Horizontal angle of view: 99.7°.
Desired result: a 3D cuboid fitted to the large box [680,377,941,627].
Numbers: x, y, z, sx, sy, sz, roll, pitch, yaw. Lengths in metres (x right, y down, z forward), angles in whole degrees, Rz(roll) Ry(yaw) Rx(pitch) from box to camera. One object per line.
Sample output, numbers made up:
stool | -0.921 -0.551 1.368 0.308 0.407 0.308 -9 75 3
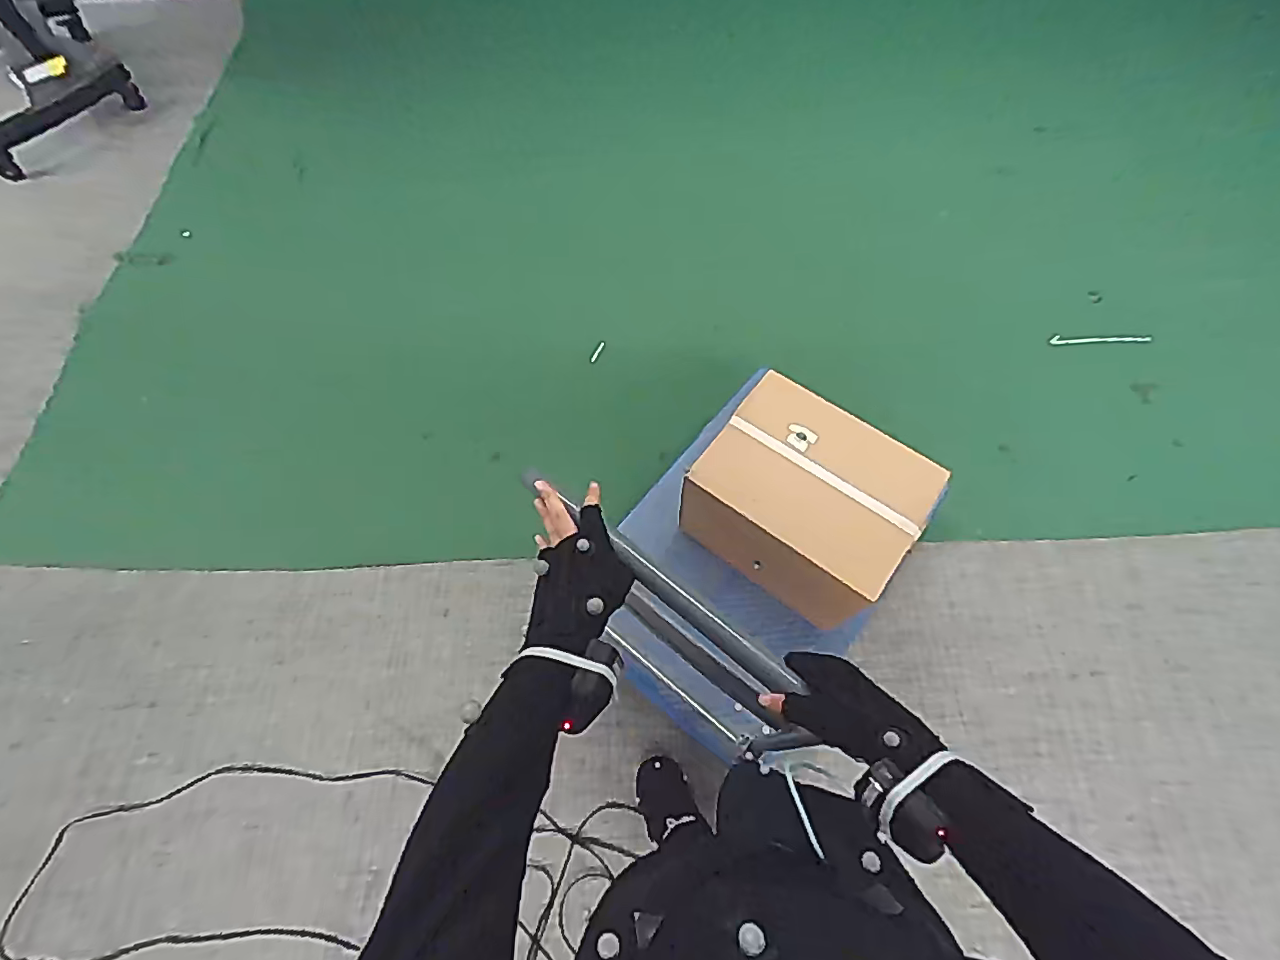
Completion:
large box | 0.337 0.057 1.172 0.408 0.320 0.320 34 70 17
